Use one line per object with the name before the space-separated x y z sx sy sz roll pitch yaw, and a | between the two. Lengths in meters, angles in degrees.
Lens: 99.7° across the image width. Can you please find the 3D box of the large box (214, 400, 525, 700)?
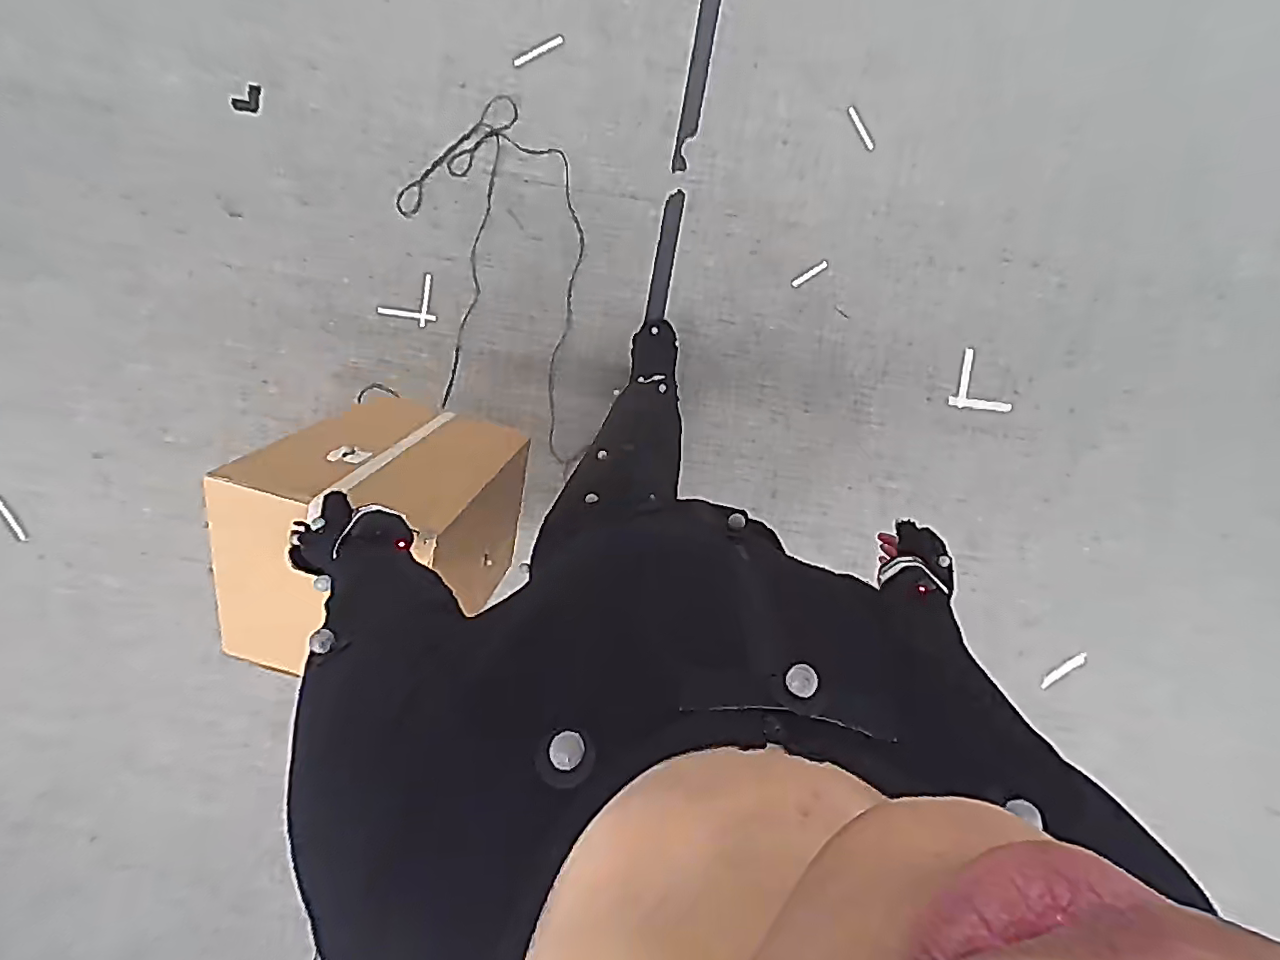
large box | -0.427 0.092 0.946 0.320 0.408 0.320 14 115 2
